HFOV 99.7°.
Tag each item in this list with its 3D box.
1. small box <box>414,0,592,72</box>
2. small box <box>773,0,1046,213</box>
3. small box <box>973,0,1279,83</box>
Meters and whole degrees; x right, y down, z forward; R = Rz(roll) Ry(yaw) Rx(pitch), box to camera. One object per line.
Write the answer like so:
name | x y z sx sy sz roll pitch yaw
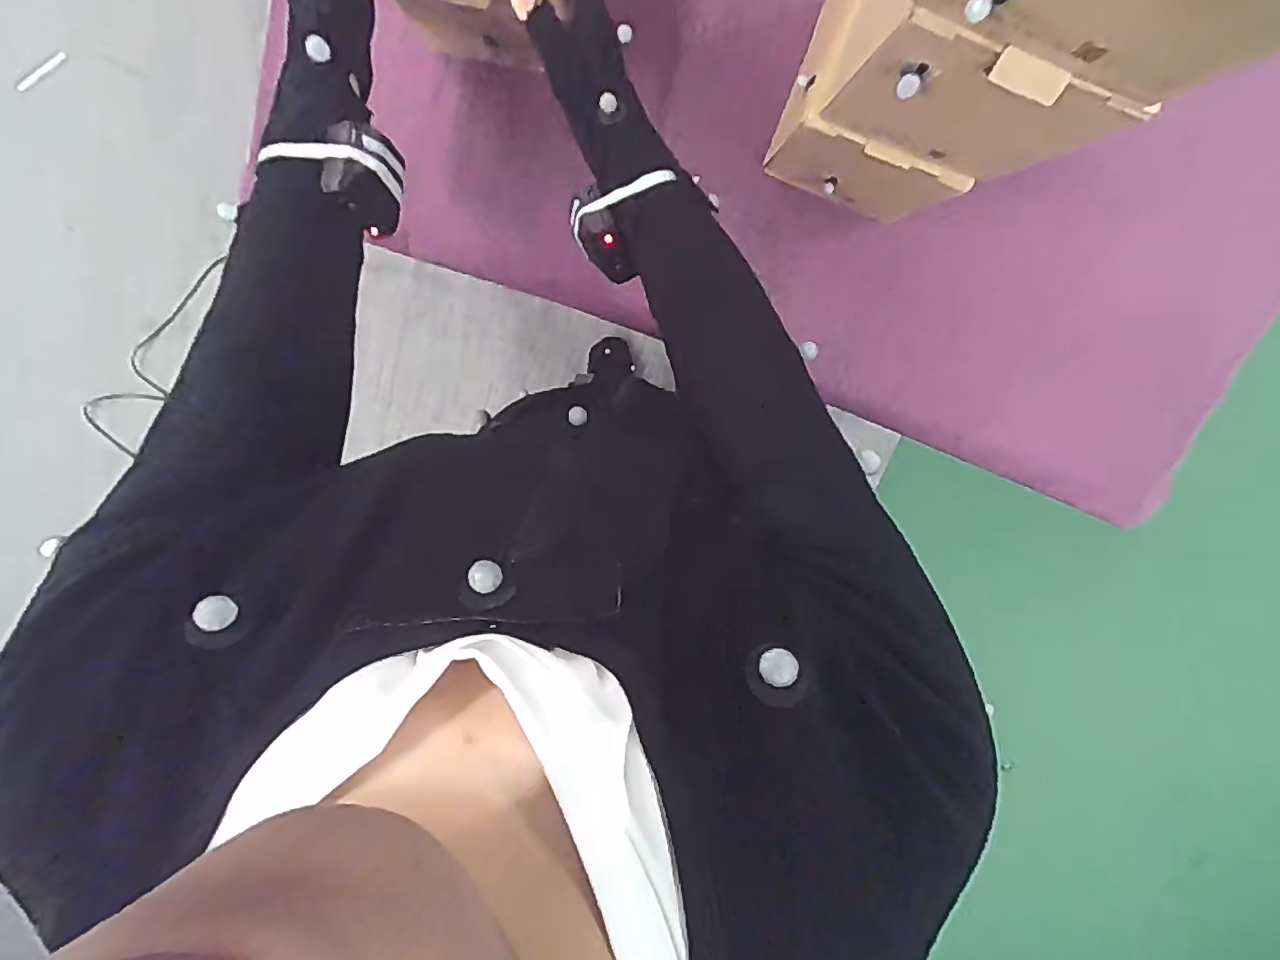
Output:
small box | -0.128 -0.519 0.491 0.168 0.176 0.179 10 107 -3
small box | 0.250 -0.391 0.532 0.168 0.176 0.179 19 107 -6
small box | 0.254 -0.306 0.213 0.168 0.176 0.179 18 105 -6
